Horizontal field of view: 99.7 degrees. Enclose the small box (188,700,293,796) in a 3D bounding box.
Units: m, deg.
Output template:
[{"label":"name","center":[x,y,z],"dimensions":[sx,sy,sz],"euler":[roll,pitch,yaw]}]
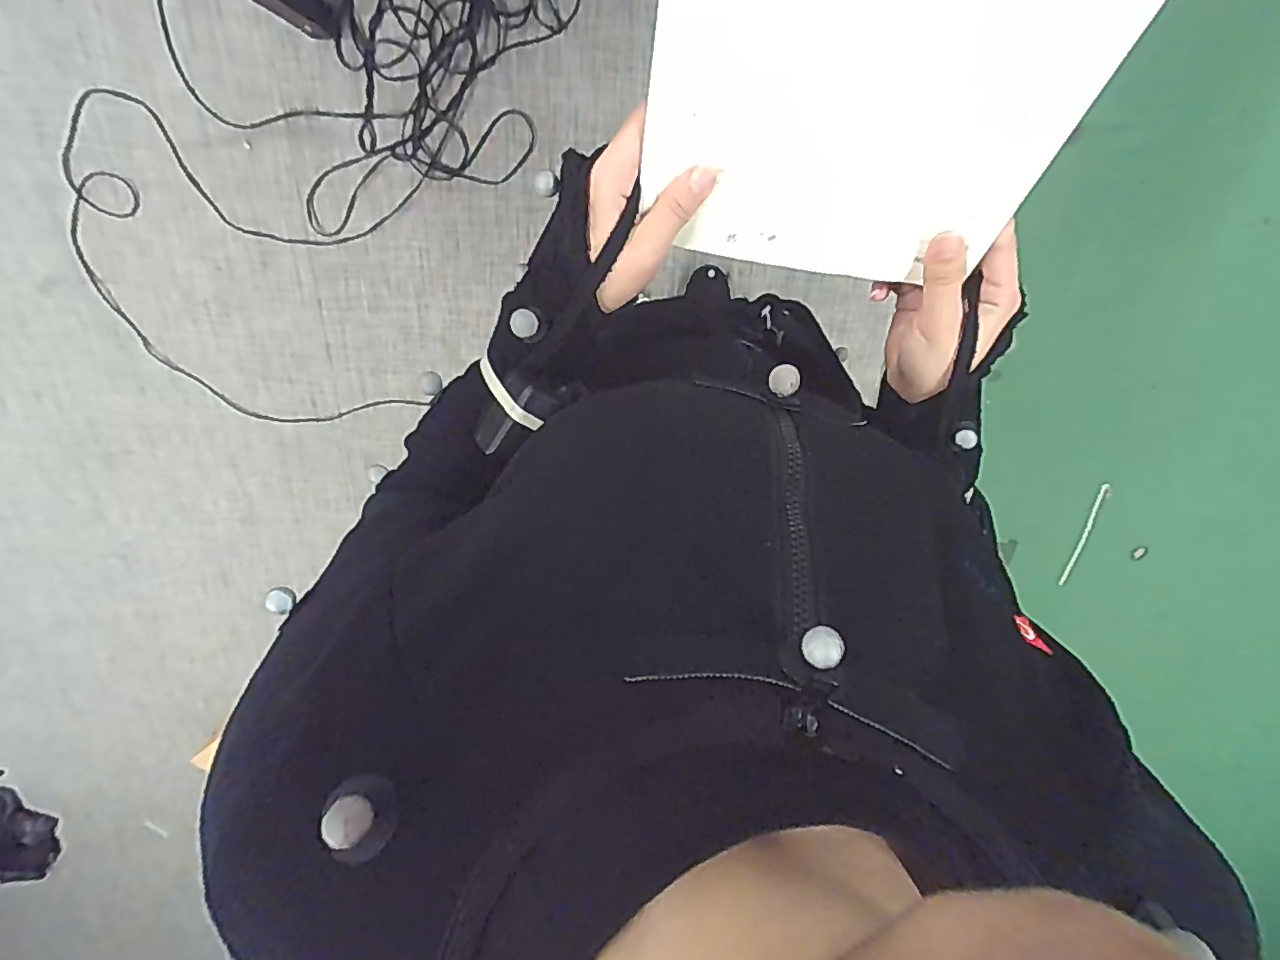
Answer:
[{"label":"small box","center":[-1.236,0.832,1.688],"dimensions":[0.179,0.176,0.168],"euler":[-38,109,14]}]
